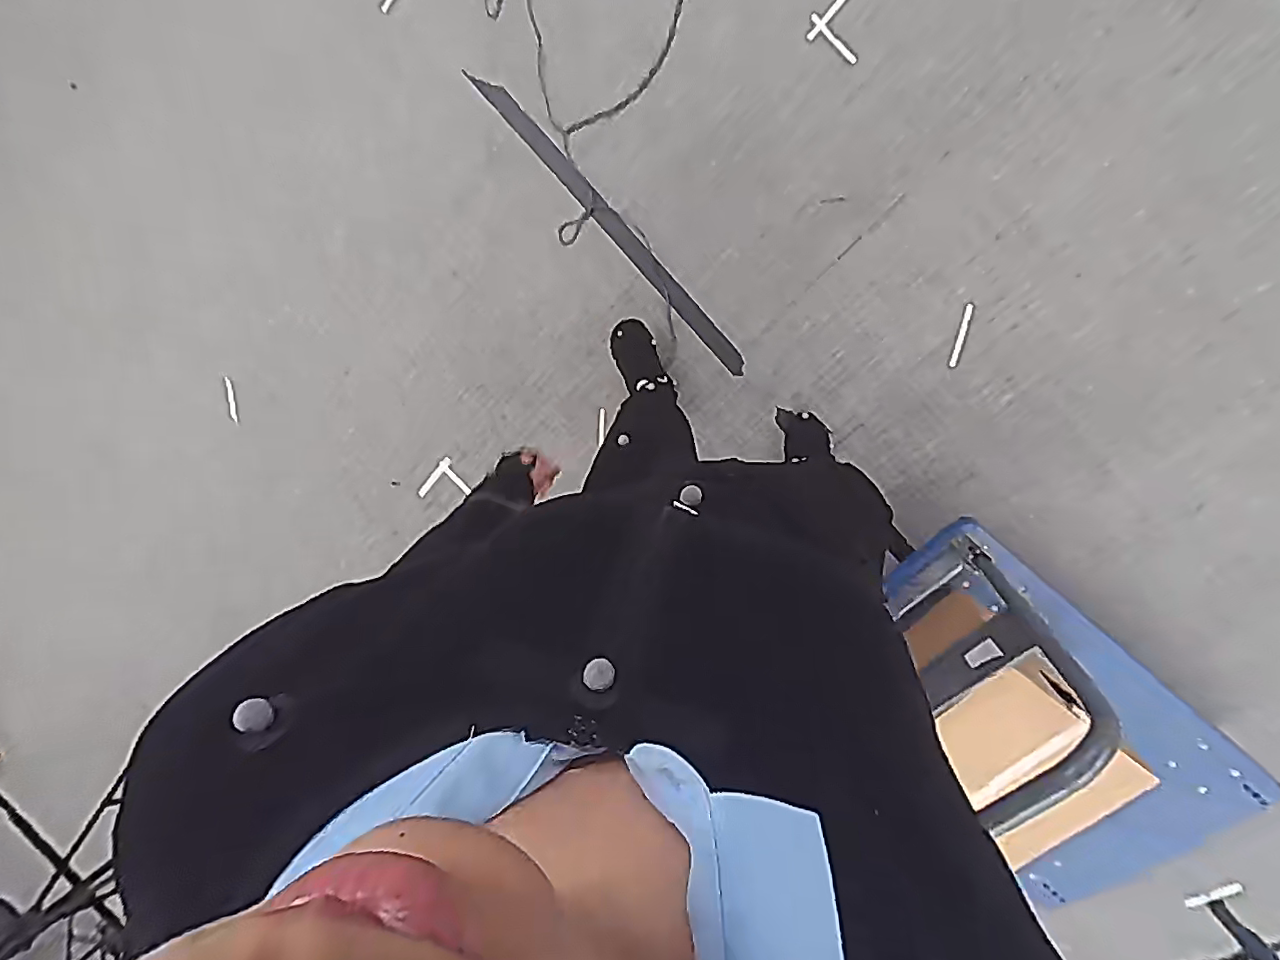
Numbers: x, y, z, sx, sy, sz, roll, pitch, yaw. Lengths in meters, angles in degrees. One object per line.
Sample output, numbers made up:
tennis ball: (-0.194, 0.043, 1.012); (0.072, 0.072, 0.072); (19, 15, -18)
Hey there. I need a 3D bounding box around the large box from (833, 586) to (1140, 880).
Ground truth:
large box: (0.668, 0.506, 1.134); (0.320, 0.320, 0.408); (38, 111, 4)
